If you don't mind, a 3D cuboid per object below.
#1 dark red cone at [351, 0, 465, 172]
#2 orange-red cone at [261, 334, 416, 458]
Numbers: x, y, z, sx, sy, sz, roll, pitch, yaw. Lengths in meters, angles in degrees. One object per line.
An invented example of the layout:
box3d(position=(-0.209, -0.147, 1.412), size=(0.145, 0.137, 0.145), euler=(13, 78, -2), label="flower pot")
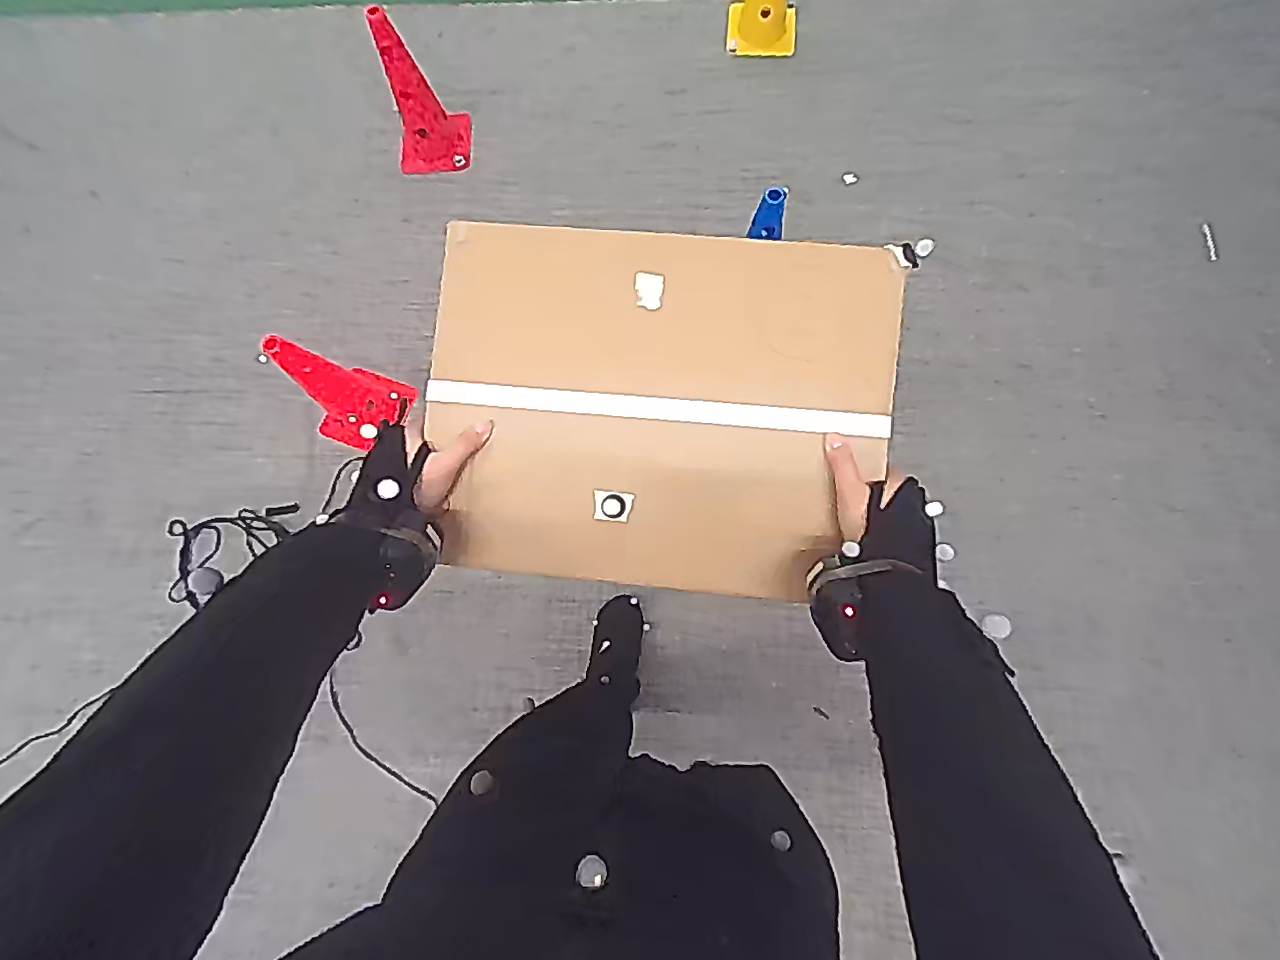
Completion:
box3d(position=(-0.616, -1.025, 1.403), size=(0.202, 0.394, 0.201), euler=(-6, 72, 2), label="dark red cone")
box3d(position=(-0.704, -0.216, 1.211), size=(0.199, 0.360, 0.198), euler=(20, 76, 10), label="orange-red cone")
